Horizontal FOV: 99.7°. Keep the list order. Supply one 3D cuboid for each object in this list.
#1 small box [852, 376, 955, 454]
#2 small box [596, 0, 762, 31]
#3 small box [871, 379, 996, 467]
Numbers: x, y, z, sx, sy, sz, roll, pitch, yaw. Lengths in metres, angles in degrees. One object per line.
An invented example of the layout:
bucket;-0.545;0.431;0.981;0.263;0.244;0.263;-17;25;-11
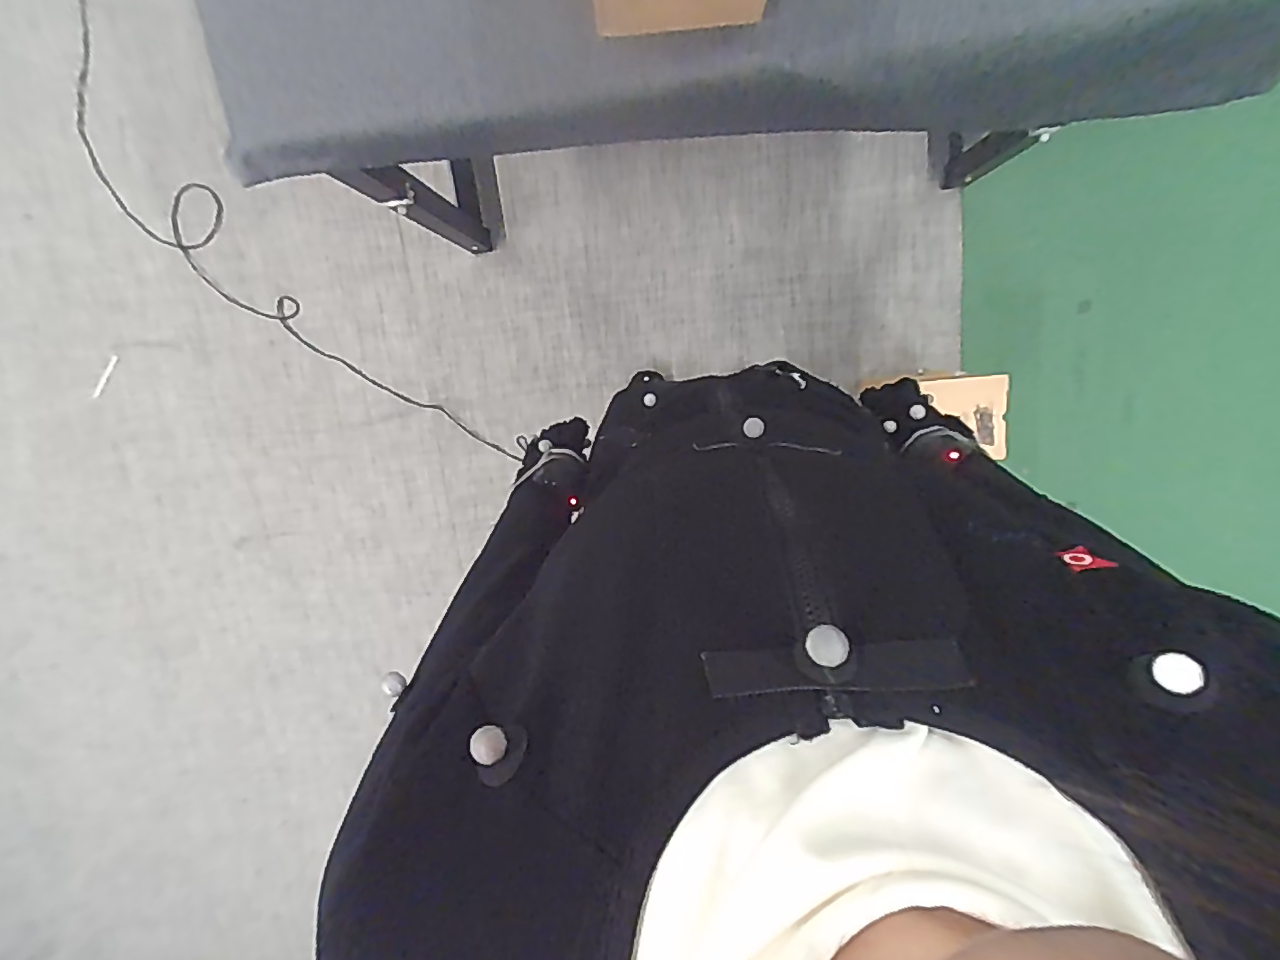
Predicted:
small box;0.625;-0.159;1.294;0.179;0.176;0.168;-6;100;5
small box;0.035;-0.551;0.491;0.179;0.176;0.168;-2;101;3
small box;0.606;-0.124;1.134;0.179;0.176;0.168;-3;100;4
